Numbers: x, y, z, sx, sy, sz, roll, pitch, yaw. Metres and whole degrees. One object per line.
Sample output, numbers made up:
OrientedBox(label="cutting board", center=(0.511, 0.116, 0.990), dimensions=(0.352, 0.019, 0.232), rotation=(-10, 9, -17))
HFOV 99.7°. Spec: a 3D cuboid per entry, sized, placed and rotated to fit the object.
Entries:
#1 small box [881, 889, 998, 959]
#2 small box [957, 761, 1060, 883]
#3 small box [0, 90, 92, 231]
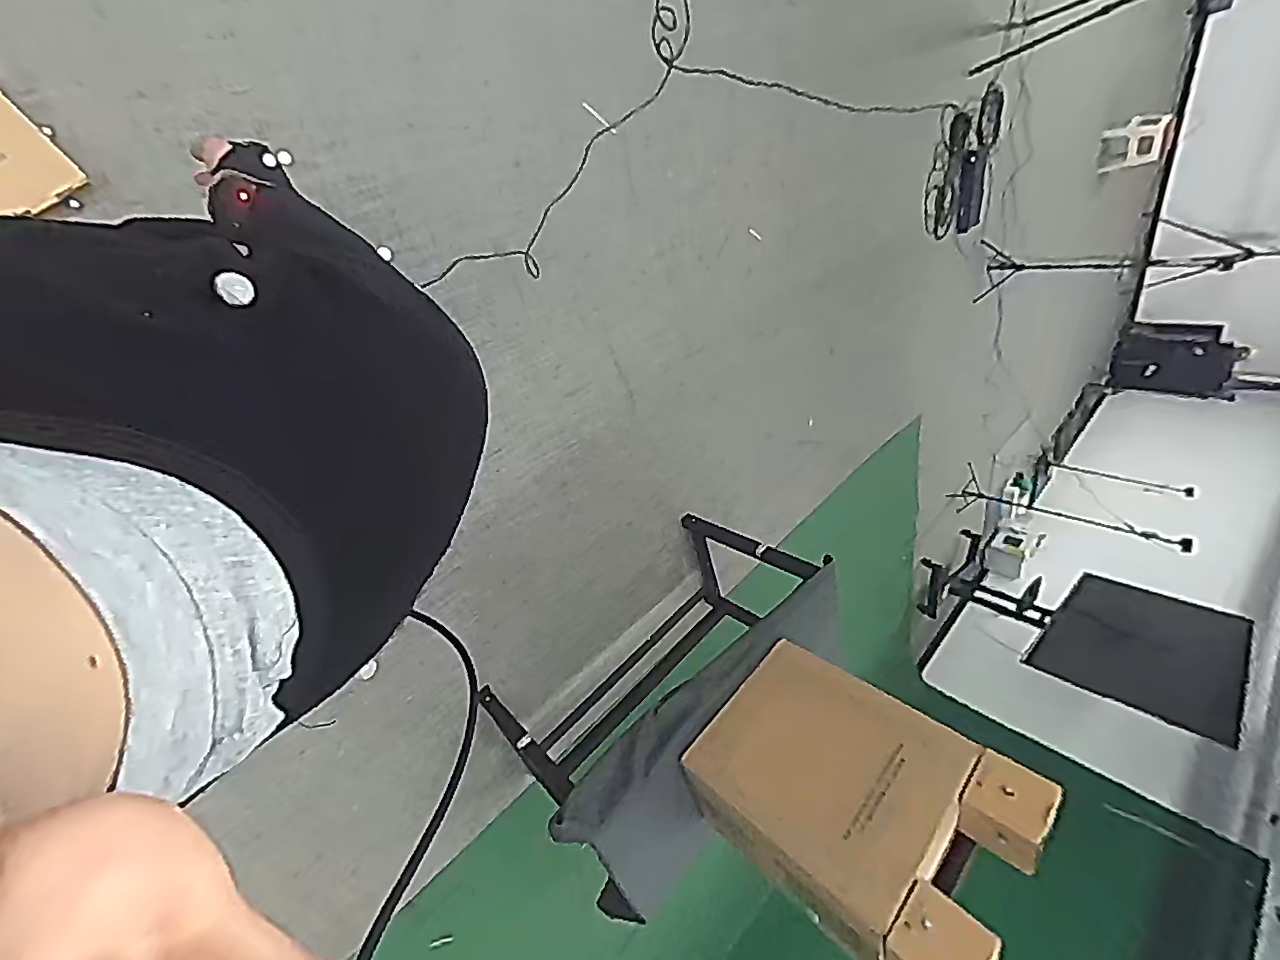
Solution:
OrientedBox(label="small box", center=(0.651, 1.055, 1.187), dimensions=(0.168, 0.176, 0.179), rotation=(-38, 127, -26))
OrientedBox(label="small box", center=(0.918, 0.846, 1.357), dimensions=(0.168, 0.176, 0.179), rotation=(-38, 127, -27))
OrientedBox(label="small box", center=(-1.085, -0.541, 0.910), dimensions=(0.168, 0.176, 0.179), rotation=(-49, 130, -19))
